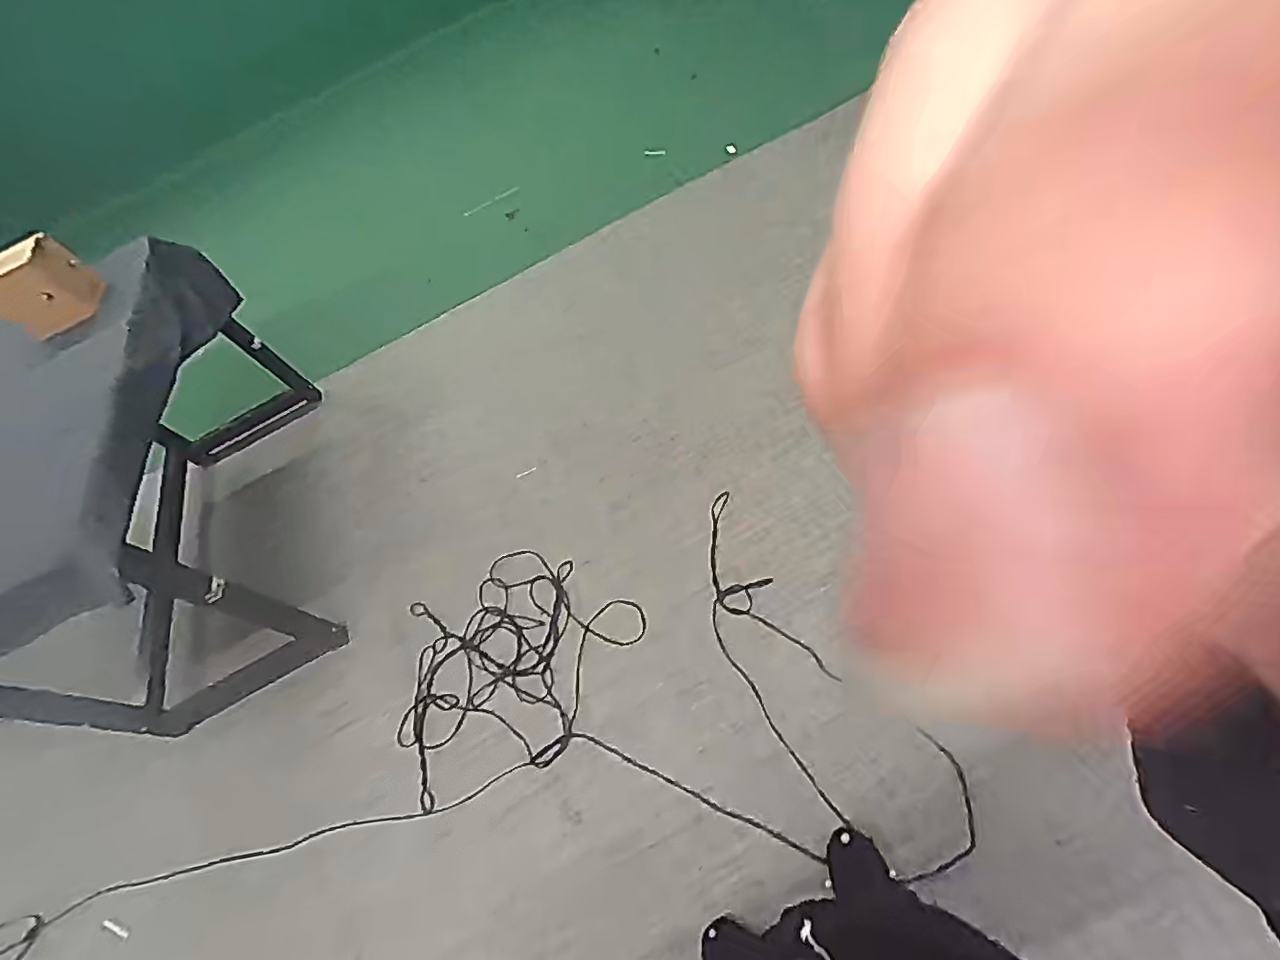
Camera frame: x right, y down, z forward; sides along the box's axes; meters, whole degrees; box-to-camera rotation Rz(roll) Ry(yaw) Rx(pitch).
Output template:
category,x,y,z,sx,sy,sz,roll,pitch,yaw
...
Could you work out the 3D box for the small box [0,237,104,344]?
category,x,y,z,sx,sy,sz,roll,pitch,yaw
small box,-1.592,-0.499,1.434,0.179,0.176,0.168,-28,54,1
